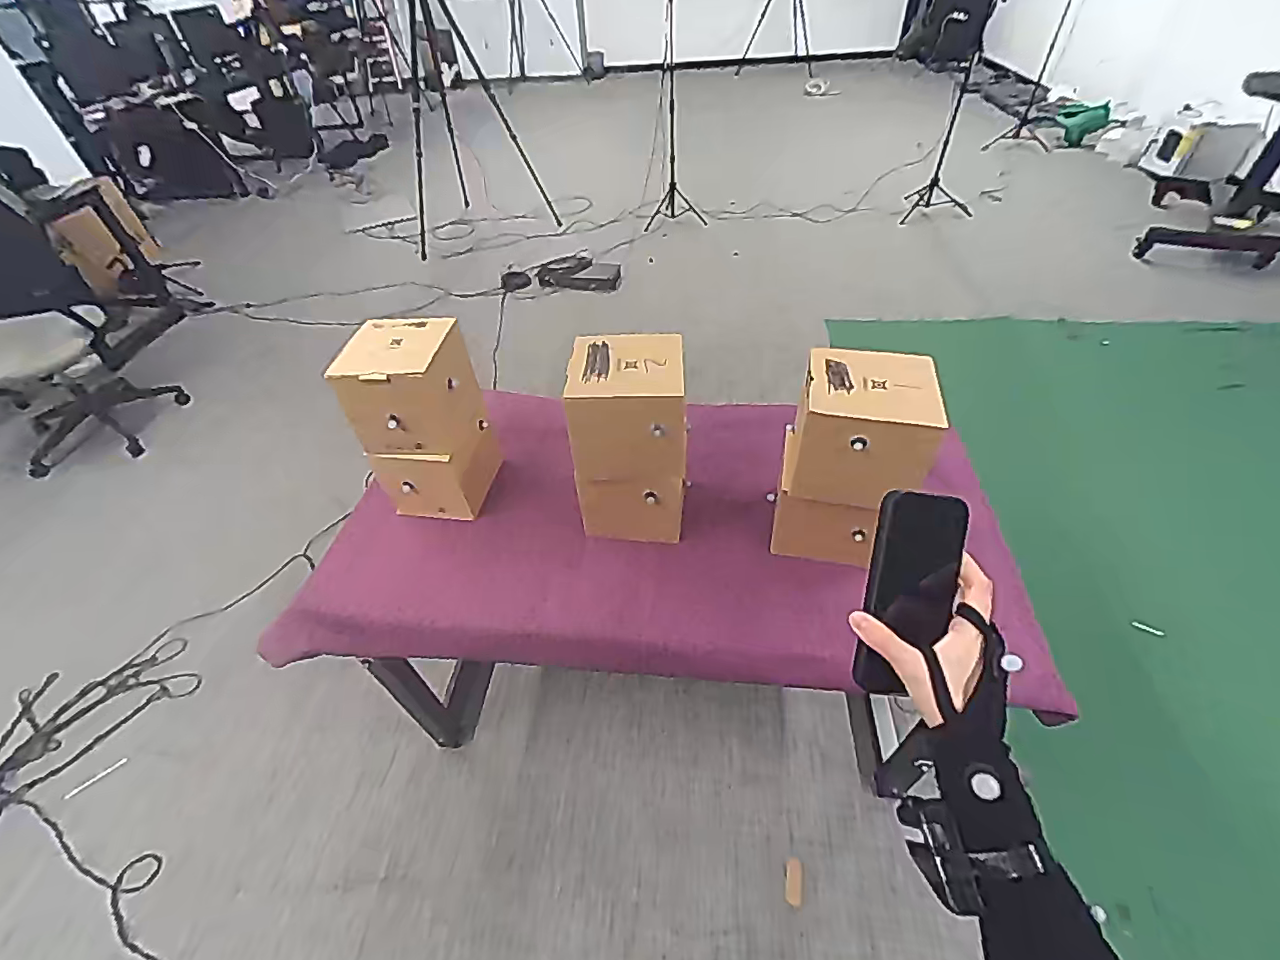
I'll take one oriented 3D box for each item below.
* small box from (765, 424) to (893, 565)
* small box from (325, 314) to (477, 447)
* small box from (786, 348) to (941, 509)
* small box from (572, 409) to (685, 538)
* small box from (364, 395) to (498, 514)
[{"bbox_3d":[0.322,0.027,0.938,0.179,0.176,0.168,8,47,13],"label":"small box"},{"bbox_3d":[-0.402,-0.172,0.949,0.168,0.176,0.179,1,47,4],"label":"small box"},{"bbox_3d":[0.320,-0.075,0.809,0.179,0.176,0.168,9,47,11],"label":"small box"},{"bbox_3d":[-0.012,-0.009,0.992,0.179,0.176,0.168,4,46,8],"label":"small box"},{"bbox_3d":[-0.395,-0.052,1.062,0.168,0.176,0.179,5,46,8],"label":"small box"}]
